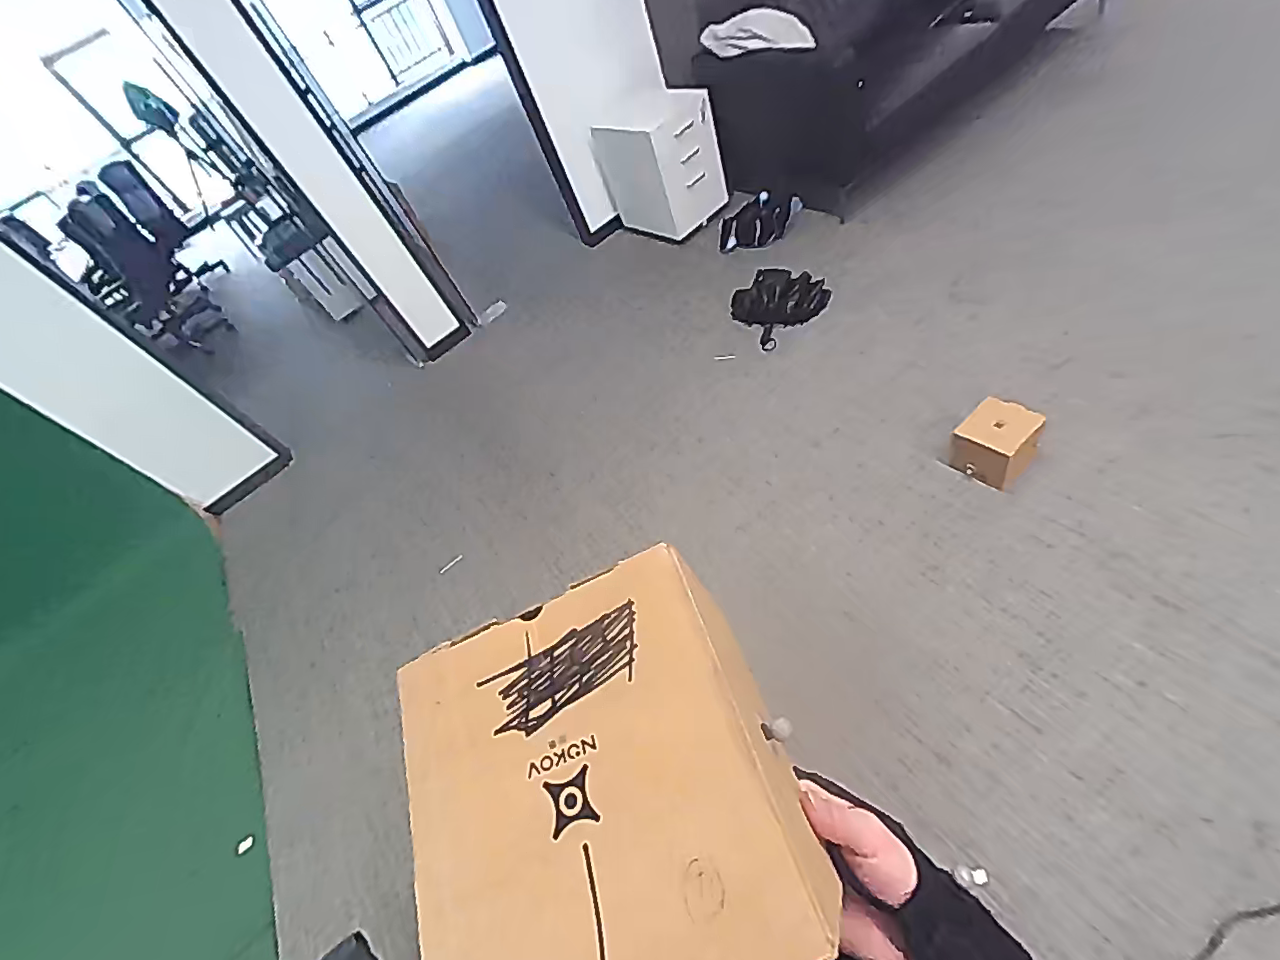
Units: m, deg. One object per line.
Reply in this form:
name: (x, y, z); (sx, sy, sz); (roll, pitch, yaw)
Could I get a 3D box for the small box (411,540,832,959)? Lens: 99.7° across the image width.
small box: (-0.005, 0.168, 0.317); (0.168, 0.176, 0.179); (-27, 57, 7)

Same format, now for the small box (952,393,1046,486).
small box: (1.049, -0.119, 1.596); (0.179, 0.176, 0.168); (-43, 47, -11)
